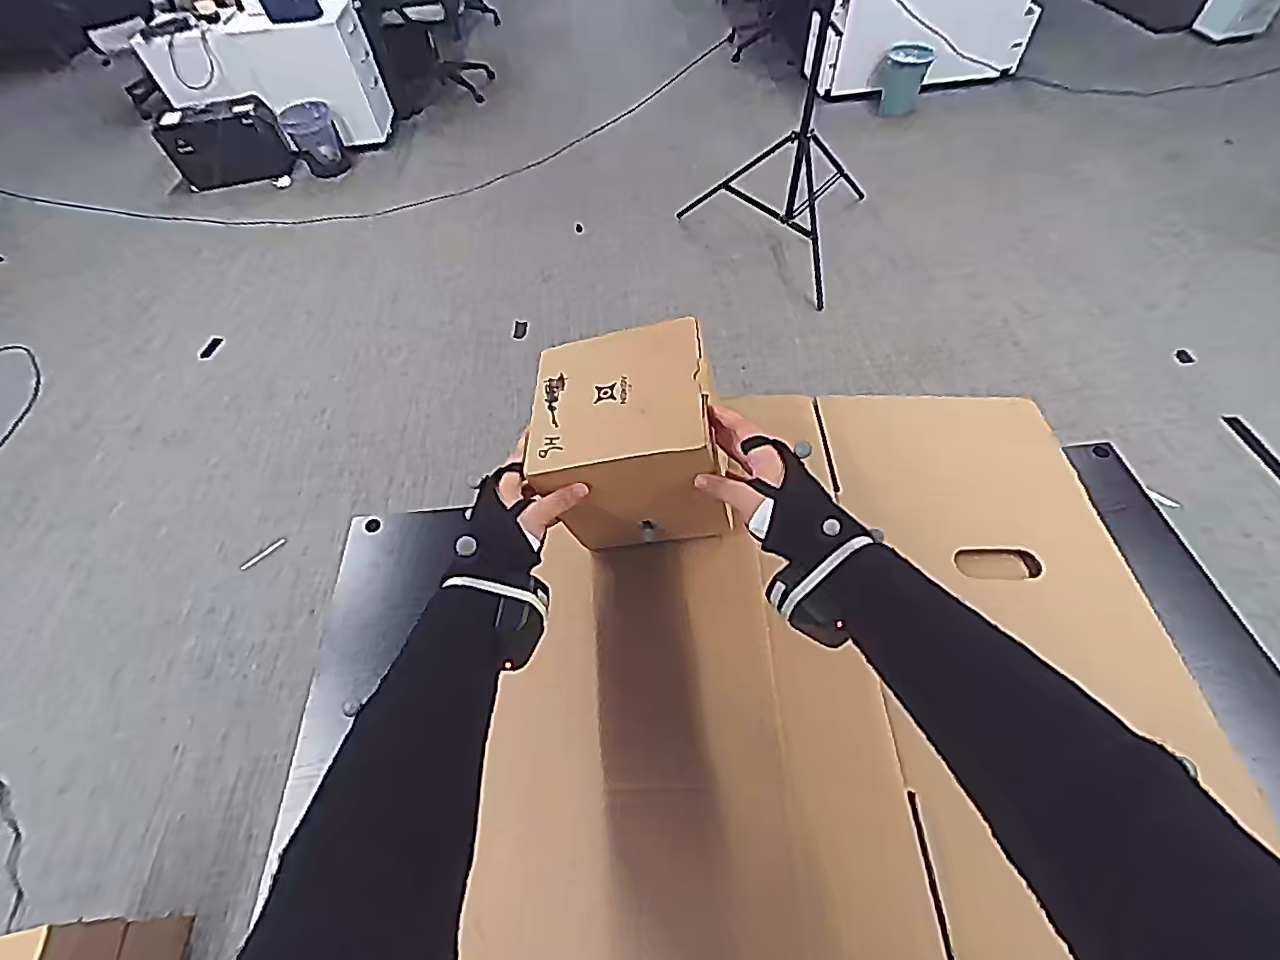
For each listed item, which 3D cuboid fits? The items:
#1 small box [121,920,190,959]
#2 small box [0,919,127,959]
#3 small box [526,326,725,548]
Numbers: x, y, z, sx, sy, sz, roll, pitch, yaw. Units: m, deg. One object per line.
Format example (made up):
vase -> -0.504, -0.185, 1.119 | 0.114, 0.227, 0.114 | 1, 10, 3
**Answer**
small box -> -1.033, 0.980, 1.051 | 0.168, 0.176, 0.179 | -9, 55, -3
small box -> -1.043, 0.881, 0.921 | 0.168, 0.176, 0.179 | -11, 54, -5
small box -> -0.003, -0.038, 0.596 | 0.179, 0.176, 0.168 | -8, 55, 13
